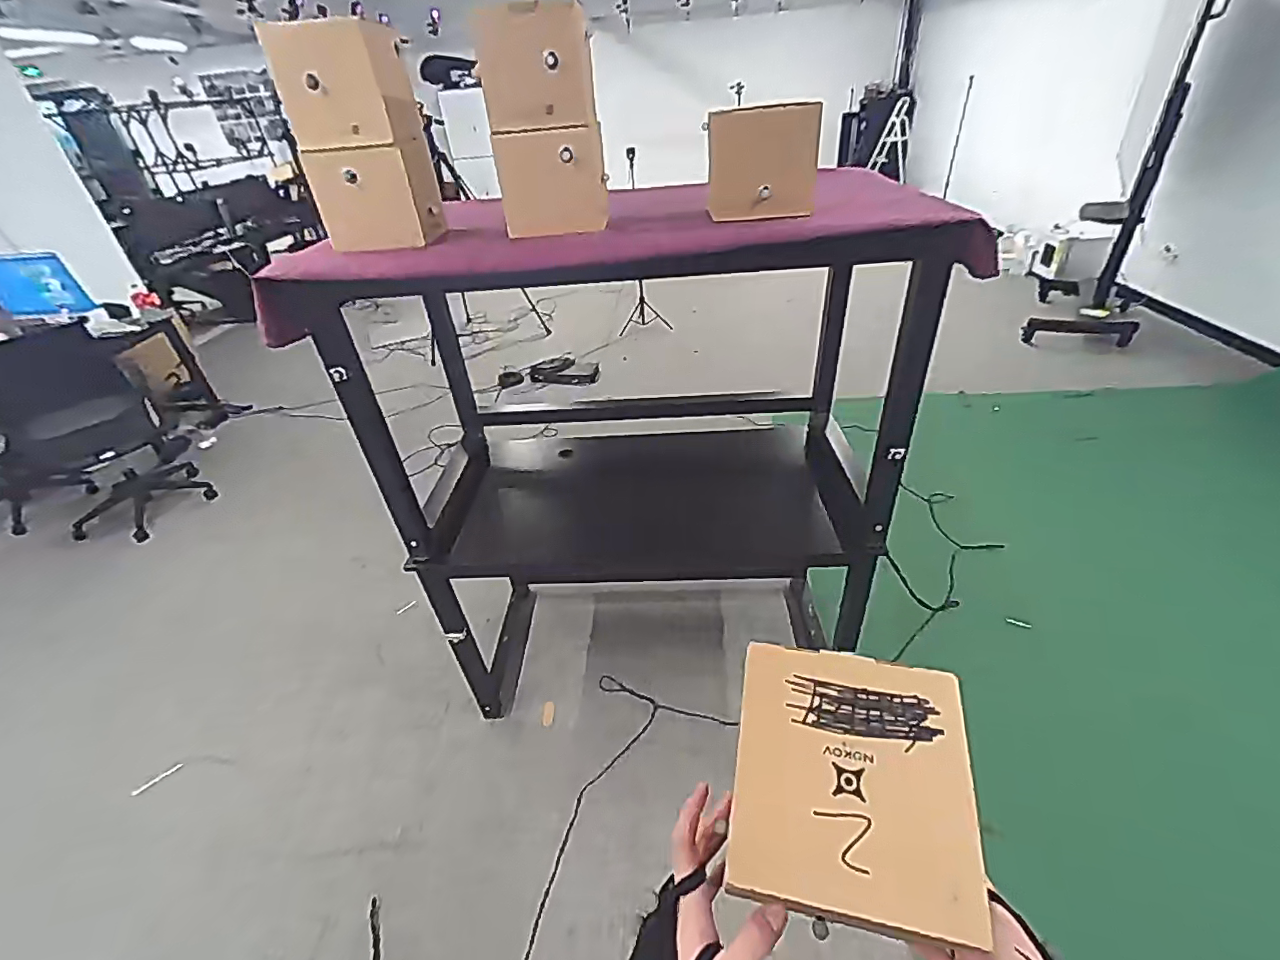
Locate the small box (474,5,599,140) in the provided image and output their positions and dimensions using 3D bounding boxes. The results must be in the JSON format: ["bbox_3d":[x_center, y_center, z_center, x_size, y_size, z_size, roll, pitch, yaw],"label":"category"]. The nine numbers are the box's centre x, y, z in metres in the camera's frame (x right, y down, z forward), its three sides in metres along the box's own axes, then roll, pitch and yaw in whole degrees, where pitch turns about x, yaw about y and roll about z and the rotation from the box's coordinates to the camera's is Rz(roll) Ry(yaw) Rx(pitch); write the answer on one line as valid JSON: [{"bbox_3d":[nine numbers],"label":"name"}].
[{"bbox_3d":[-0.165,-0.691,0.934,0.168,0.176,0.179,-1,34,4],"label":"small box"}]

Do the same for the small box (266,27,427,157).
[{"bbox_3d":[-0.495,-0.668,0.947,0.168,0.176,0.179,-5,34,1],"label":"small box"}]

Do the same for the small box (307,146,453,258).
[{"bbox_3d":[-0.483,-0.533,1.036,0.179,0.176,0.168,-3,35,1],"label":"small box"}]

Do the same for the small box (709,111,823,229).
[{"bbox_3d":[0.219,-0.566,0.986,0.179,0.176,0.168,-2,33,5],"label":"small box"}]

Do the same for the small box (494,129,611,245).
[{"bbox_3d":[-0.152,-0.553,1.020,0.179,0.176,0.168,-2,34,5],"label":"small box"}]
